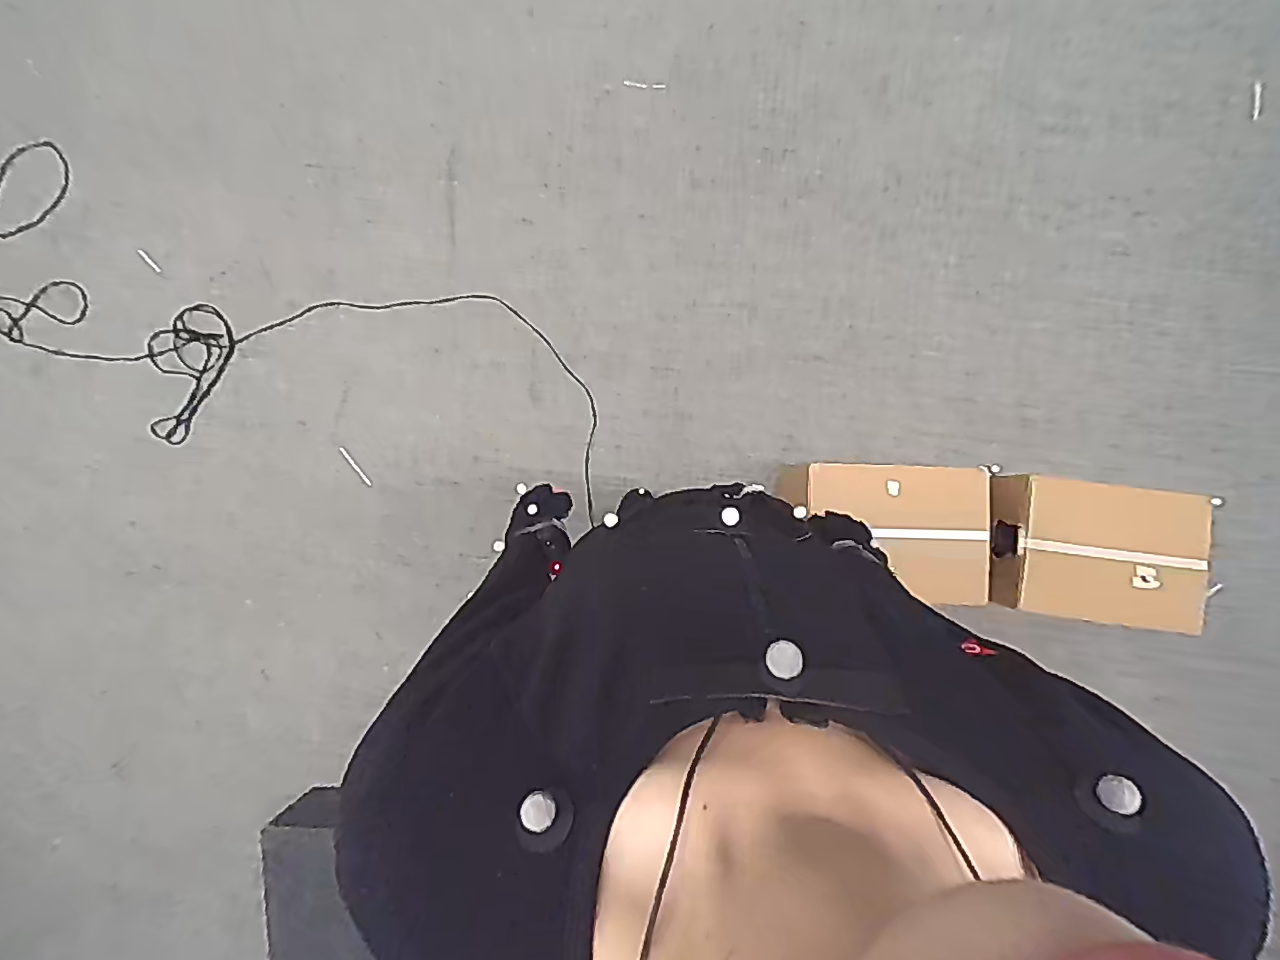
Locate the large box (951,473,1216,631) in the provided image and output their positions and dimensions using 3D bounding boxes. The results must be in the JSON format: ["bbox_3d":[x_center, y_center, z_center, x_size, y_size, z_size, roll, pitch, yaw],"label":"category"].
[{"bbox_3d":[1.054,0.166,1.334,0.408,0.320,0.320,7,88,1],"label":"large box"}]
